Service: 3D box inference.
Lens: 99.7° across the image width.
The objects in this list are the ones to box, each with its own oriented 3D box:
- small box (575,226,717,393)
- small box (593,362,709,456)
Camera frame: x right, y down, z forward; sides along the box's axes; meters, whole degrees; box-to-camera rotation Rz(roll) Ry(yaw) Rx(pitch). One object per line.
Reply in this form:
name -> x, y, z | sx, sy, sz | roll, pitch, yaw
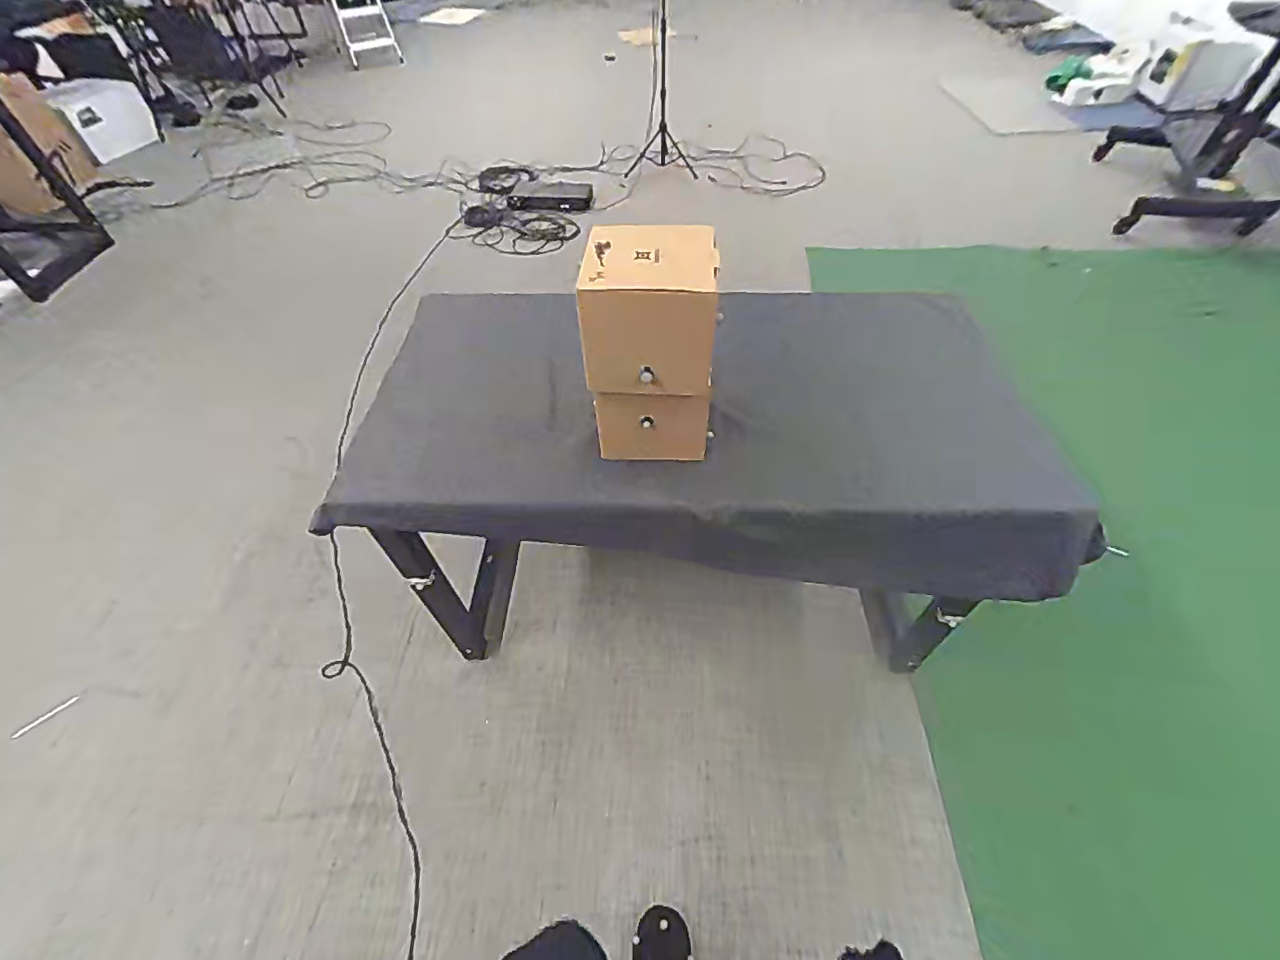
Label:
small box -> 0.012, -0.238, 0.770 | 0.179, 0.176, 0.168 | 0, 52, 3
small box -> 0.021, -0.153, 0.907 | 0.179, 0.176, 0.168 | 0, 51, 4
